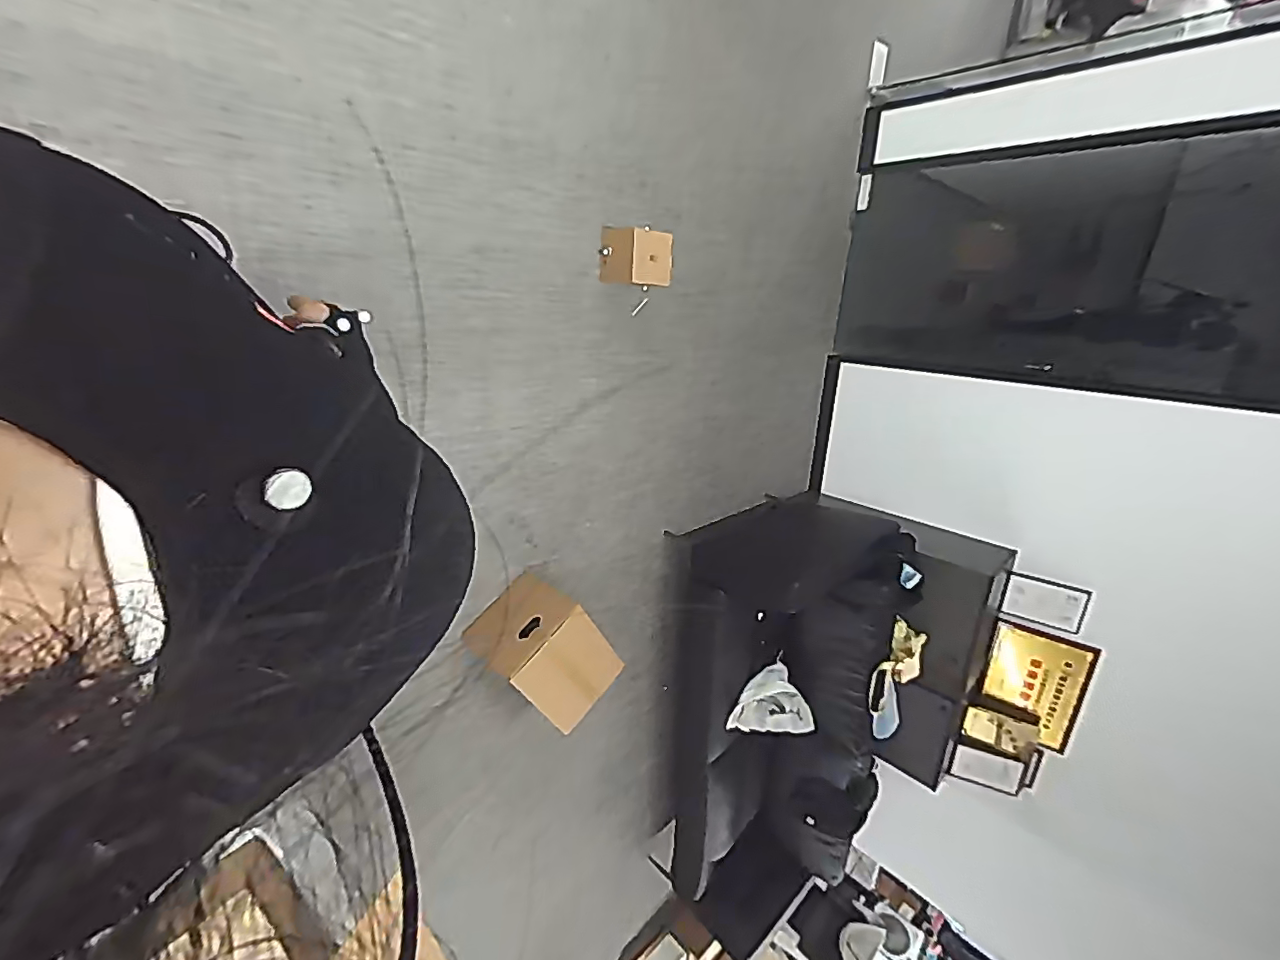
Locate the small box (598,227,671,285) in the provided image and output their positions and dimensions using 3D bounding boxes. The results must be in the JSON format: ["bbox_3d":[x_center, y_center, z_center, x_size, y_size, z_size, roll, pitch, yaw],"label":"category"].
[{"bbox_3d":[-0.020,-0.750,1.822,0.179,0.176,0.168,-14,114,-41],"label":"small box"}]
